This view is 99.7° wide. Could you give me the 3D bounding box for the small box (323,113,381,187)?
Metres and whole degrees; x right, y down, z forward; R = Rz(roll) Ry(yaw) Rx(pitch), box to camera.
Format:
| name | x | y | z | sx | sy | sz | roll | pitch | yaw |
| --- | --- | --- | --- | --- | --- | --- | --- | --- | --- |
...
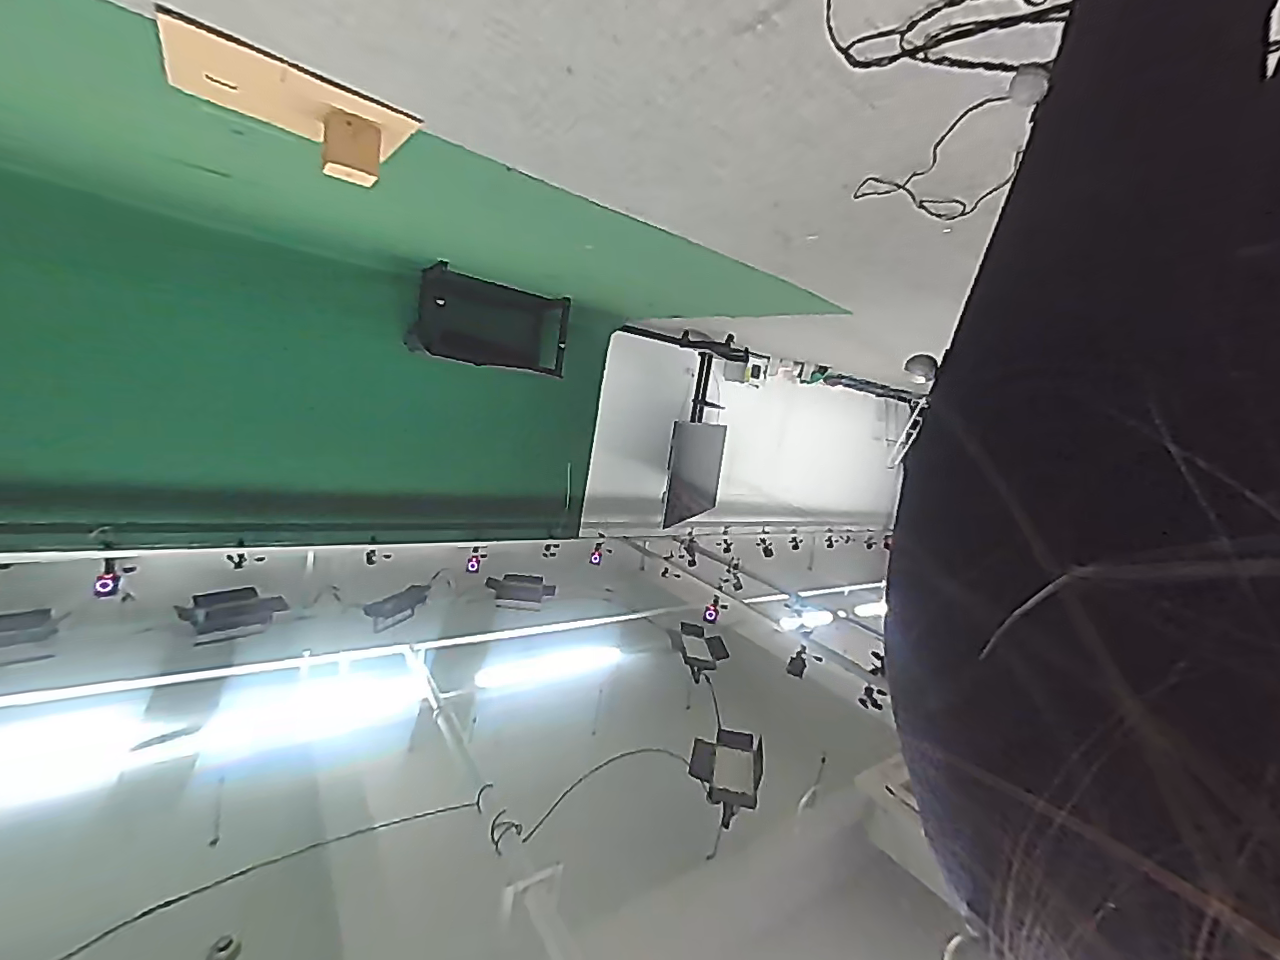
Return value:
| name | x | y | z | sx | sy | sz | roll | pitch | yaw |
| --- | --- | --- | --- | --- | --- | --- | --- | --- | --- |
| small box | -1.069 | -1.221 | 2.007 | 0.168 | 0.176 | 0.179 | 1 | -168 | -37 |
